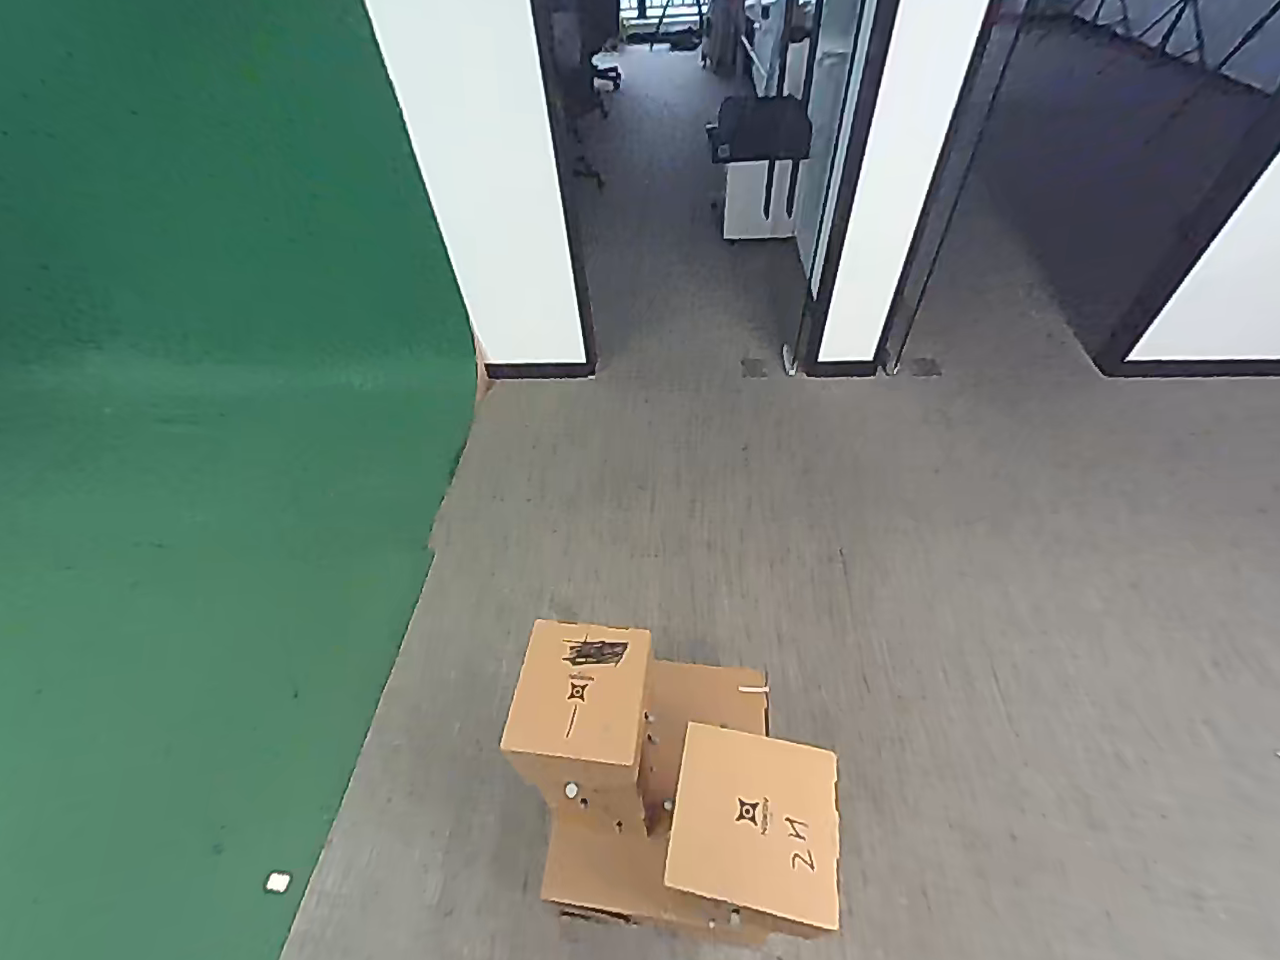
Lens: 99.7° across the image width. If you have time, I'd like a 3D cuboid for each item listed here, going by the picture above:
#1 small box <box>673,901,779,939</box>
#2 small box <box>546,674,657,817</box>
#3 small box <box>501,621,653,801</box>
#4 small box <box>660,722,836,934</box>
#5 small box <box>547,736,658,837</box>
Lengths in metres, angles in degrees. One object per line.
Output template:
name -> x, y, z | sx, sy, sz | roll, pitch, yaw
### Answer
small box -> 0.144, 0.628, 0.896 | 0.168, 0.176, 0.179 | 4, 46, 9
small box -> -0.063, 0.424, 0.883 | 0.168, 0.176, 0.179 | 4, 49, 7
small box -> -0.073, 0.322, 0.756 | 0.168, 0.176, 0.179 | 3, 48, 8
small box -> 0.126, 0.415, 0.644 | 0.179, 0.176, 0.168 | 7, 49, 10
small box -> -0.058, 0.538, 1.000 | 0.168, 0.176, 0.179 | 3, 46, 7
